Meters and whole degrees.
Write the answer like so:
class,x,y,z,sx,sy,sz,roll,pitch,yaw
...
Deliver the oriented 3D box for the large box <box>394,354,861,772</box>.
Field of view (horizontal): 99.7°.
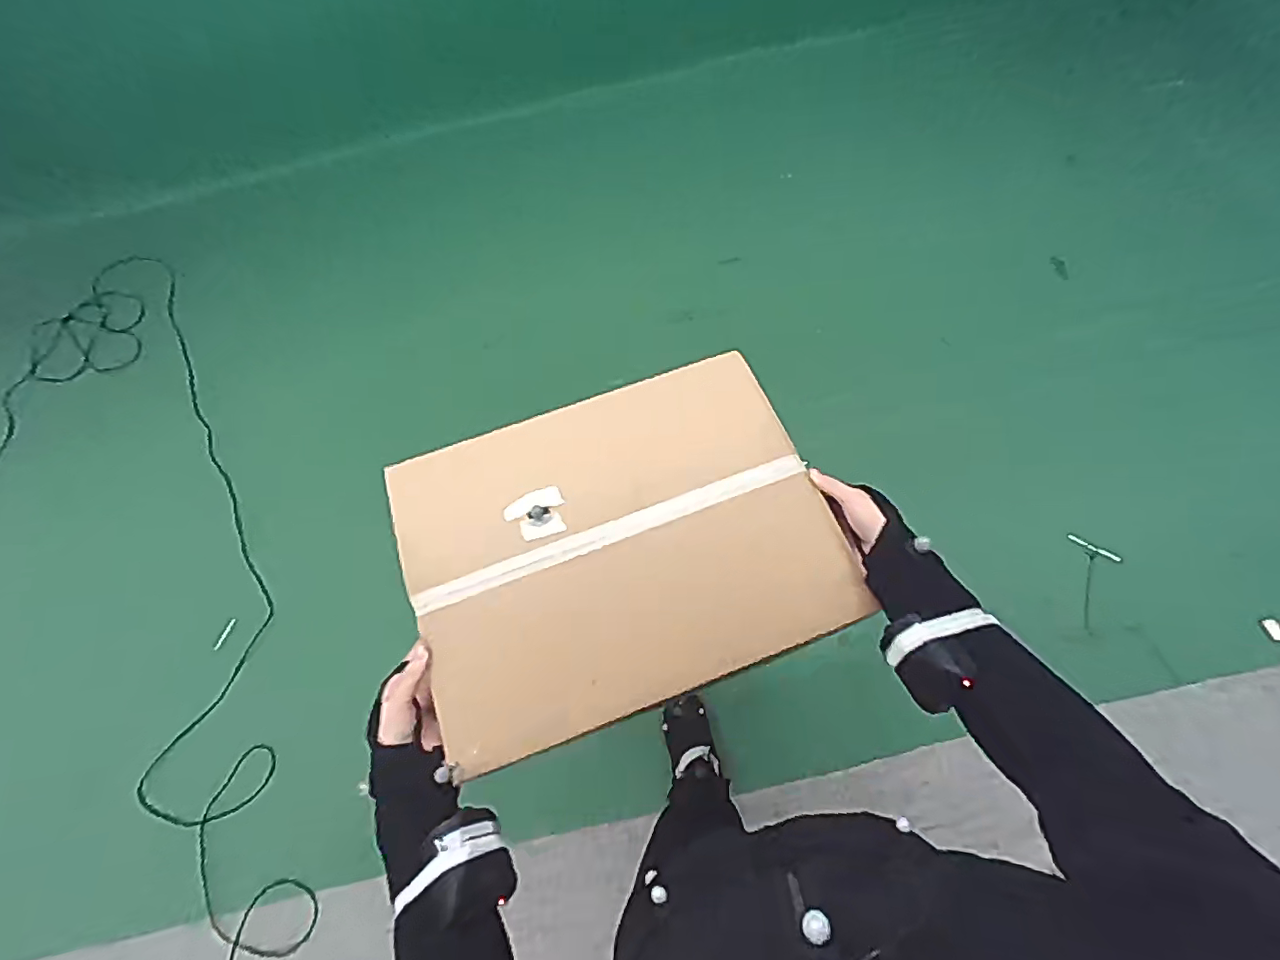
class,x,y,z,sx,sy,sz,roll,pitch,yaw
large box,-0.019,0.110,0.680,0.408,0.320,0.320,-20,67,-6
